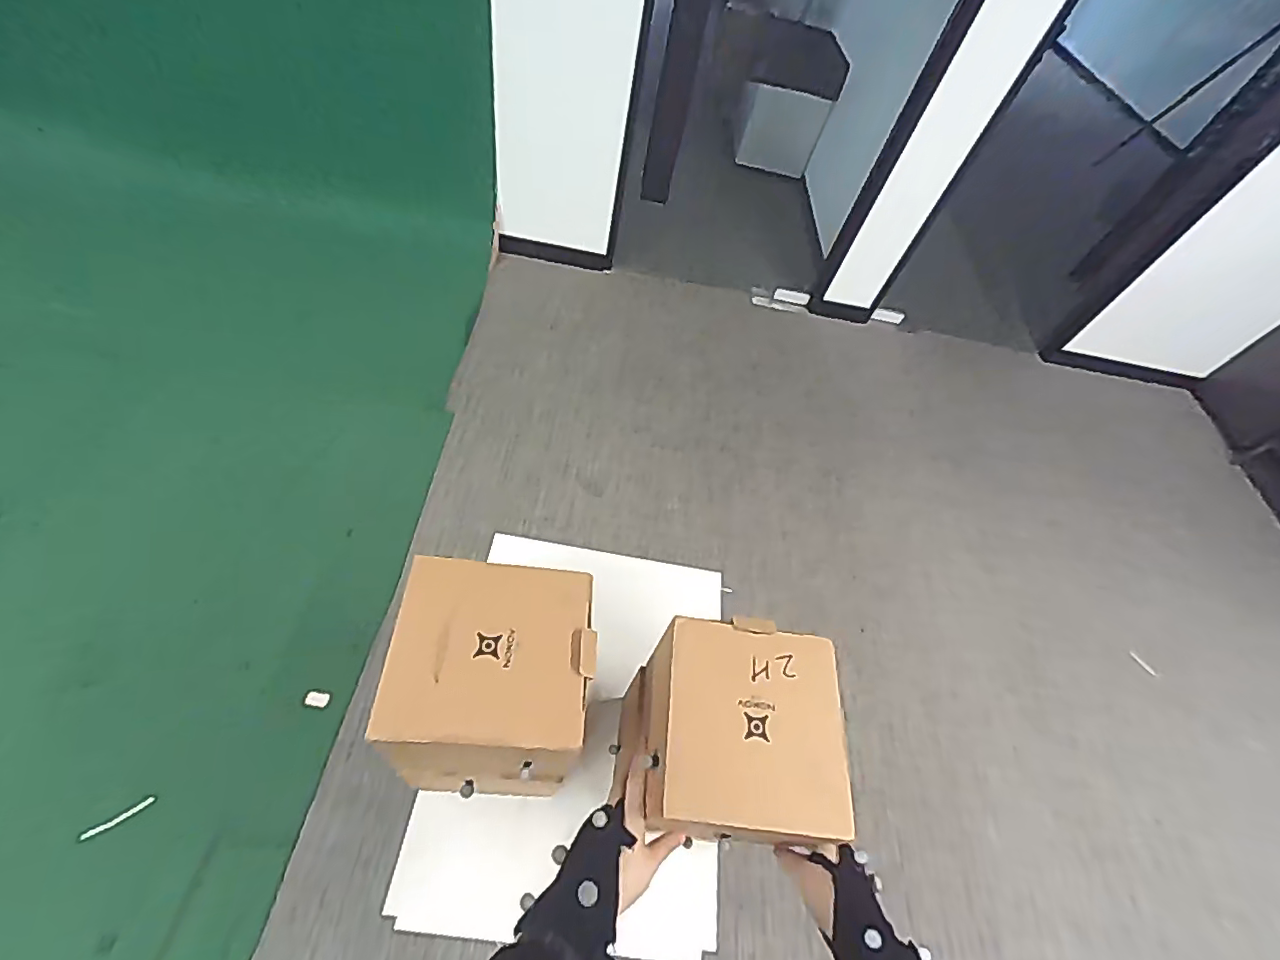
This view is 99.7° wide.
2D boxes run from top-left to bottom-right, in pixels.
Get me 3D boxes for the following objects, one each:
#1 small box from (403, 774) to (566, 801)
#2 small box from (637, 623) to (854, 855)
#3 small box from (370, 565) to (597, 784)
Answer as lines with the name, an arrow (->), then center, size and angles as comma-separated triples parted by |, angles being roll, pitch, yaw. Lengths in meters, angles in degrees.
small box -> -0.178, 0.299, 0.679 | 0.179, 0.176, 0.168 | 9, 54, -9
small box -> 0.094, 0.271, 0.555 | 0.168, 0.176, 0.179 | 10, 53, -5
small box -> -0.145, 0.204, 0.549 | 0.179, 0.176, 0.168 | 7, 53, -9
